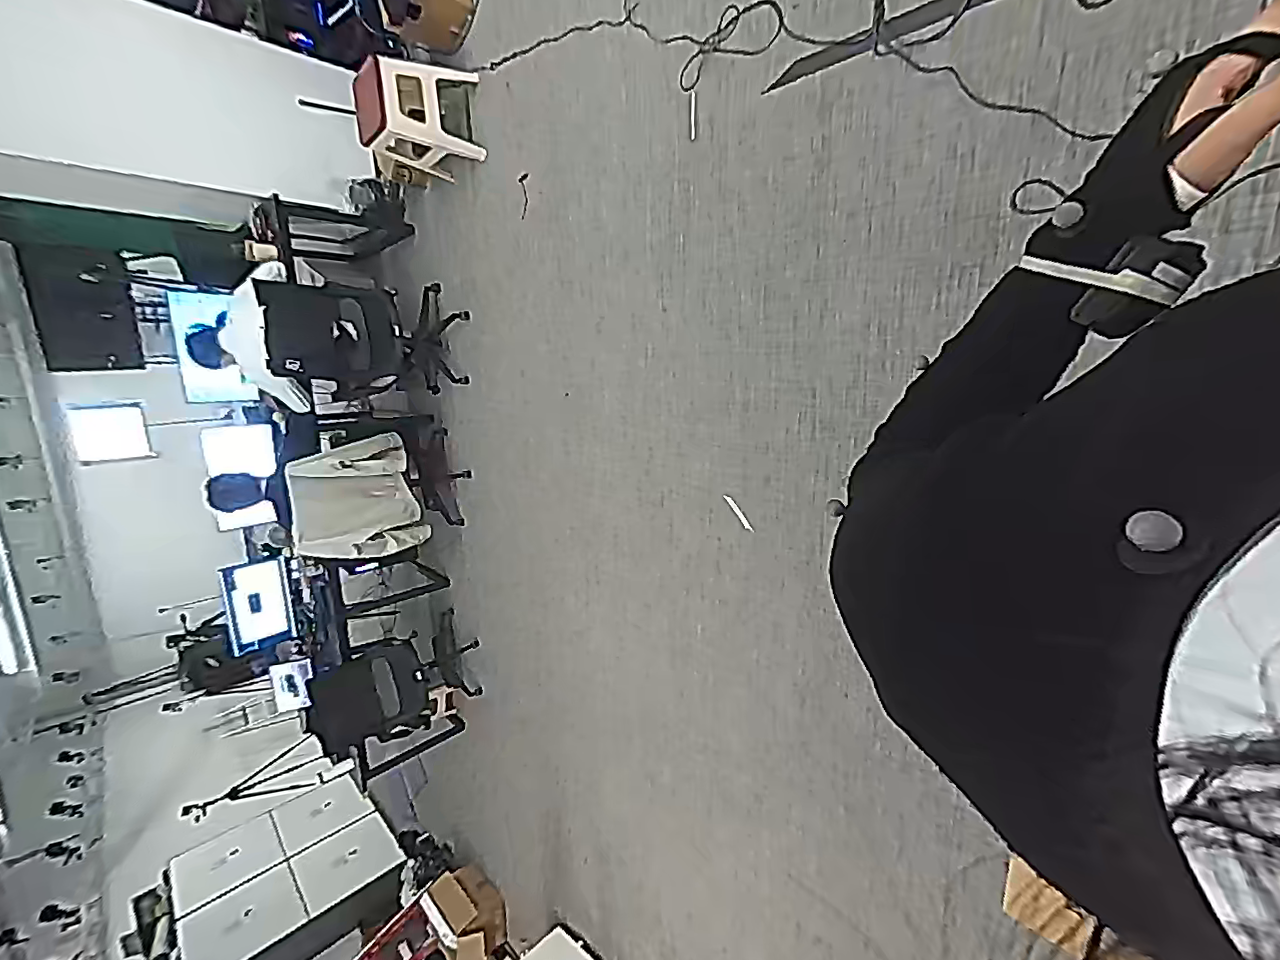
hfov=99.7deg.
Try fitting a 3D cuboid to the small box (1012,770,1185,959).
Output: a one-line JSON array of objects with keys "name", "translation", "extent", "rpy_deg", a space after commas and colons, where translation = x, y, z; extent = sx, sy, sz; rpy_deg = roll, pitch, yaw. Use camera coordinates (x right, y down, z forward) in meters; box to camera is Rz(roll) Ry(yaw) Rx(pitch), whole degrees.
[{"name": "small box", "translation": [0.692, 0.589, 0.818], "extent": [0.168, 0.176, 0.179], "rpy_deg": [12, 106, 47]}]

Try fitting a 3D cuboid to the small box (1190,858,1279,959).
[{"name": "small box", "translation": [0.824, 0.644, 0.686], "extent": [0.168, 0.176, 0.179], "rpy_deg": [8, 102, 45]}]
